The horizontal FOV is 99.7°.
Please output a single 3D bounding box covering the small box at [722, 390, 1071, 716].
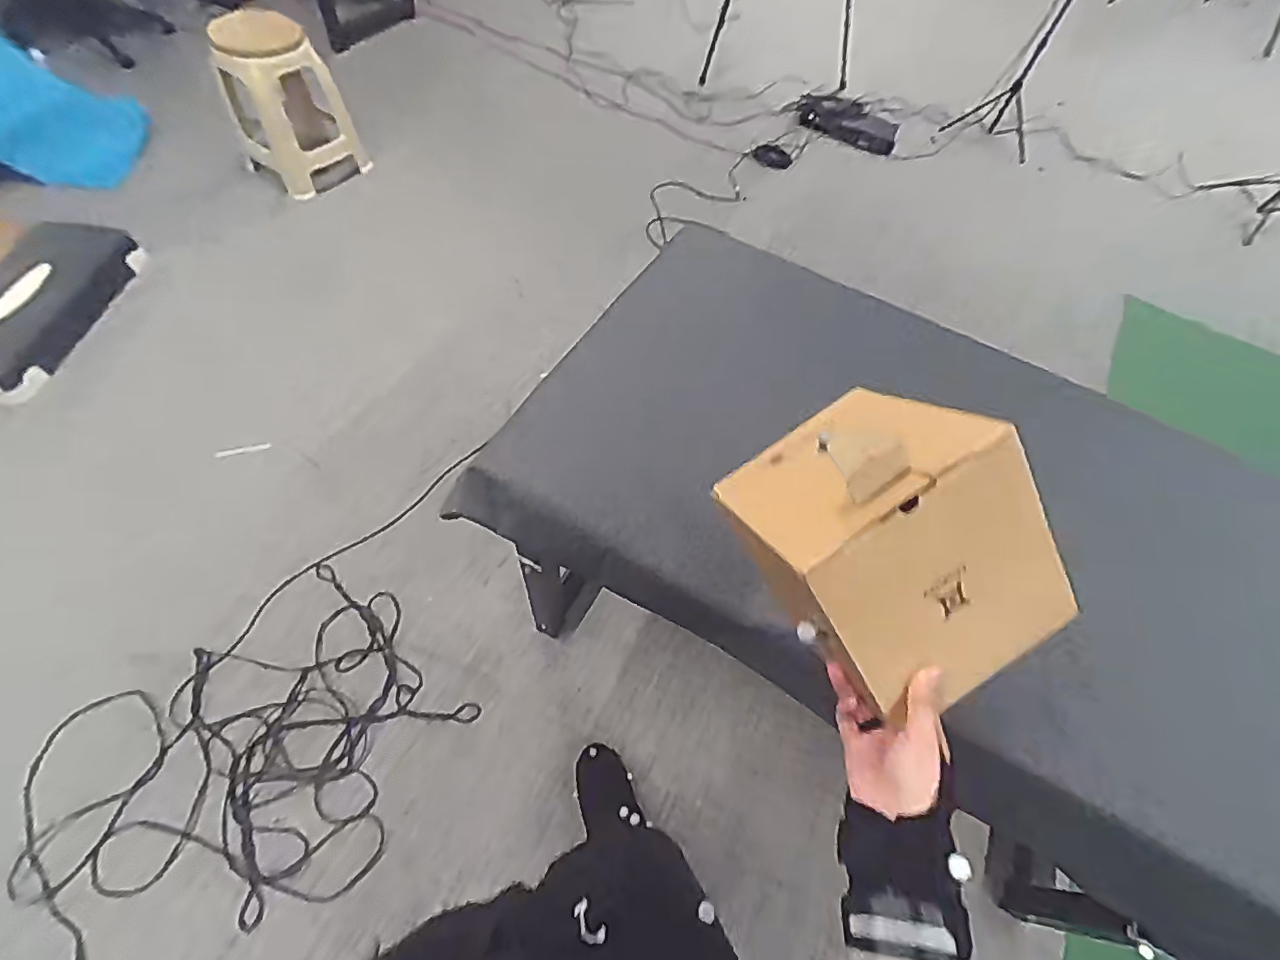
[{"bbox_3d":[0.198,0.045,0.451,0.168,0.176,0.179,-35,111,-2],"label":"small box"}]
